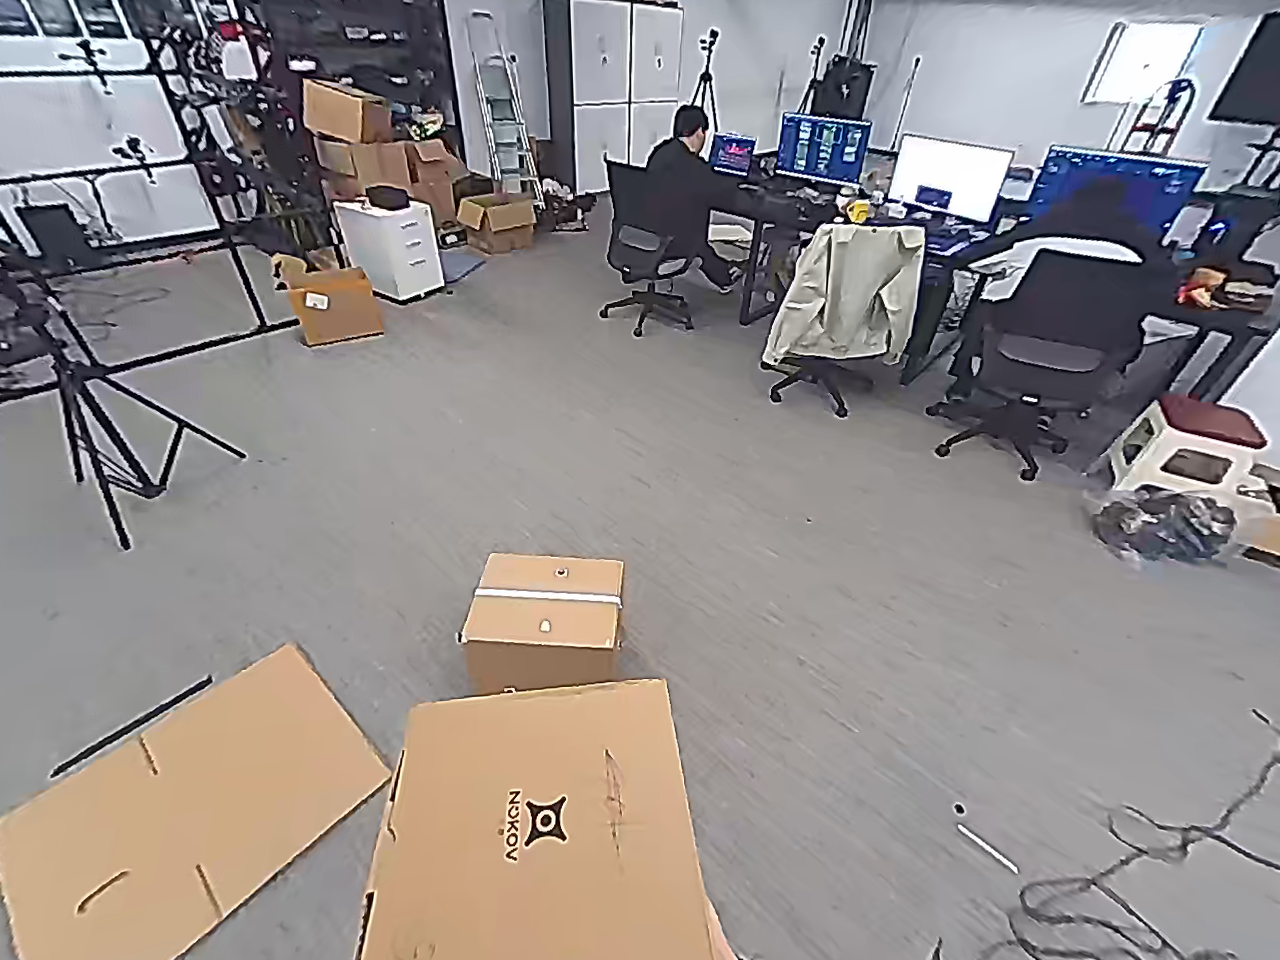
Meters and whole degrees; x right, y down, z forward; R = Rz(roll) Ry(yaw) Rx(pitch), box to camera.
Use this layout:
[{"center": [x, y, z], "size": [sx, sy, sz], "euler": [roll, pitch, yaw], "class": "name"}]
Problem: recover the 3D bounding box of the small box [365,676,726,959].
[{"center": [-0.054, 0.257, 0.358], "size": [0.179, 0.176, 0.168], "euler": [-4, 38, -7], "class": "small box"}]
